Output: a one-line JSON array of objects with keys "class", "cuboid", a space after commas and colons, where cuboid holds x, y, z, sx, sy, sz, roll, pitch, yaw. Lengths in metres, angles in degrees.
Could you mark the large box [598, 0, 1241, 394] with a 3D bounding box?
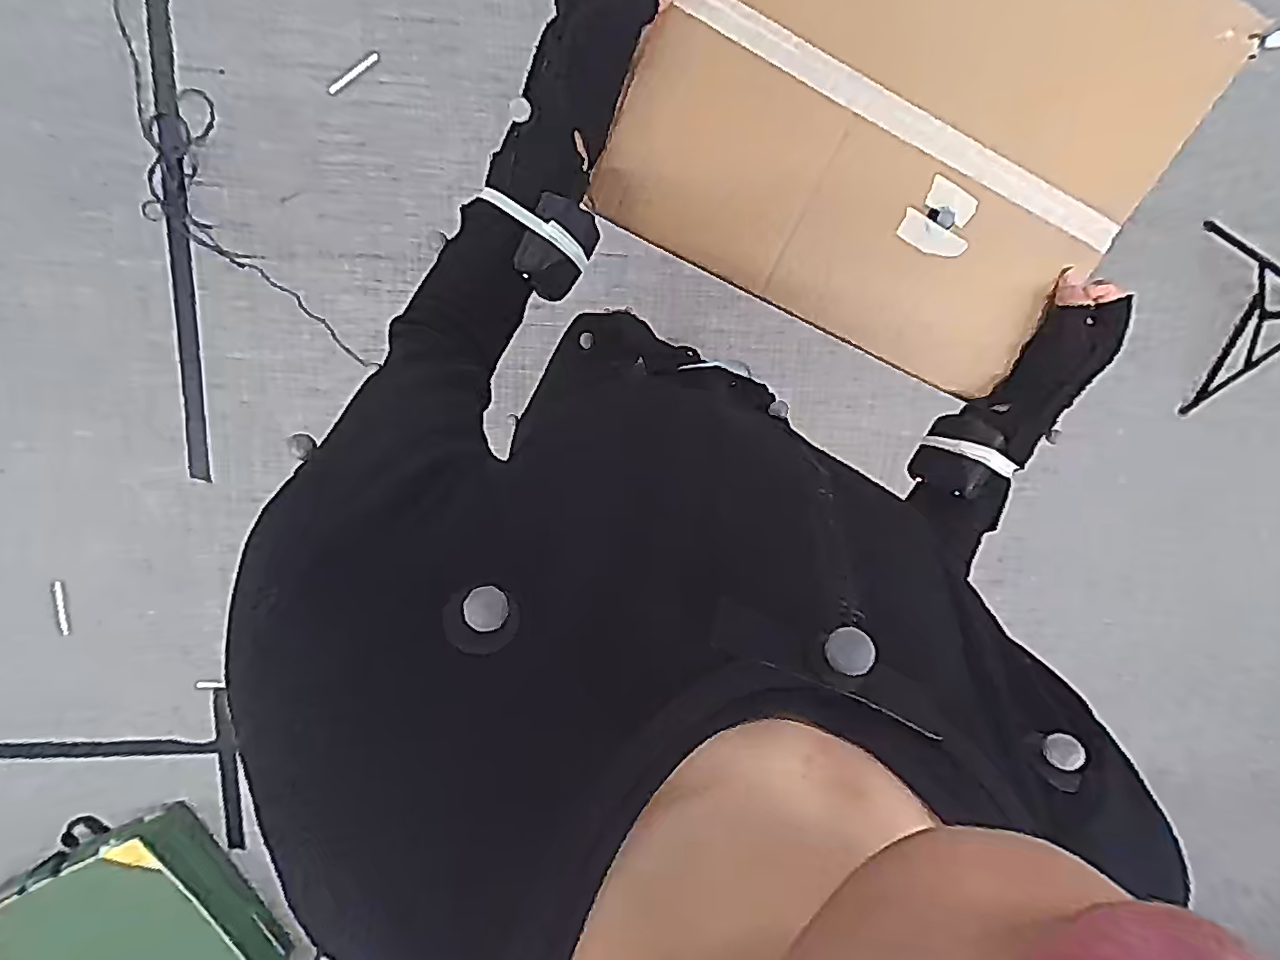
[{"class": "large box", "cuboid": [0.204, -0.341, 0.559, 0.408, 0.320, 0.320, 23, 114, -10]}]
